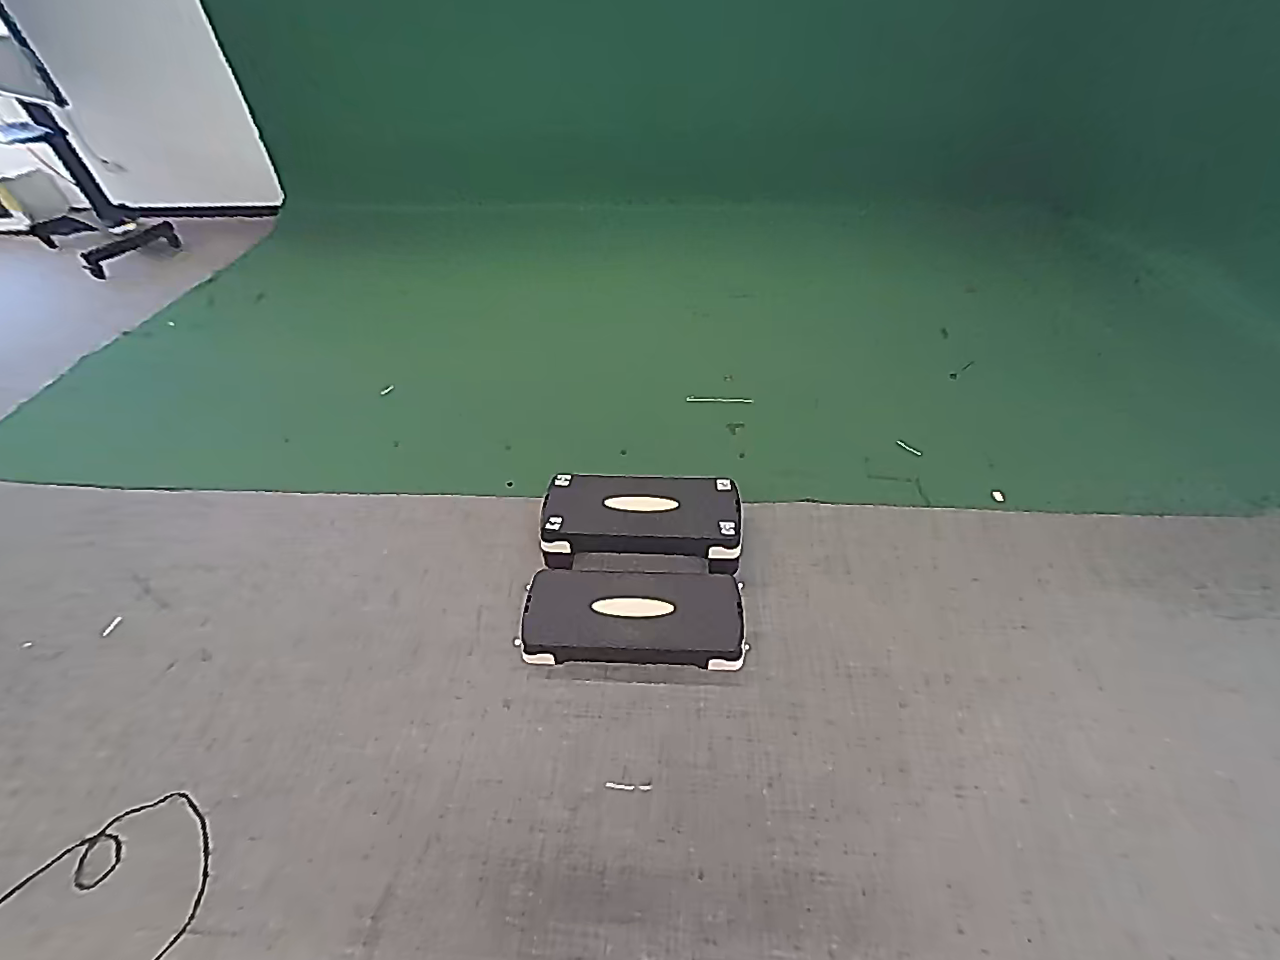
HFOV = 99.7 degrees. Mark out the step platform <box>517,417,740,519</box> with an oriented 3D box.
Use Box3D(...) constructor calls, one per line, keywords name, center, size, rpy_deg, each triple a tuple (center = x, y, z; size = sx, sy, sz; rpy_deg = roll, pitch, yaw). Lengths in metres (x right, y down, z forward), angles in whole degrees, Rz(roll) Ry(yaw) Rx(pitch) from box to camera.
Box3D(name="step platform", center=(-0.032, -0.038, 1.739), size=(0.684, 0.204, 0.286), rpy_deg=(1, 46, 3))
